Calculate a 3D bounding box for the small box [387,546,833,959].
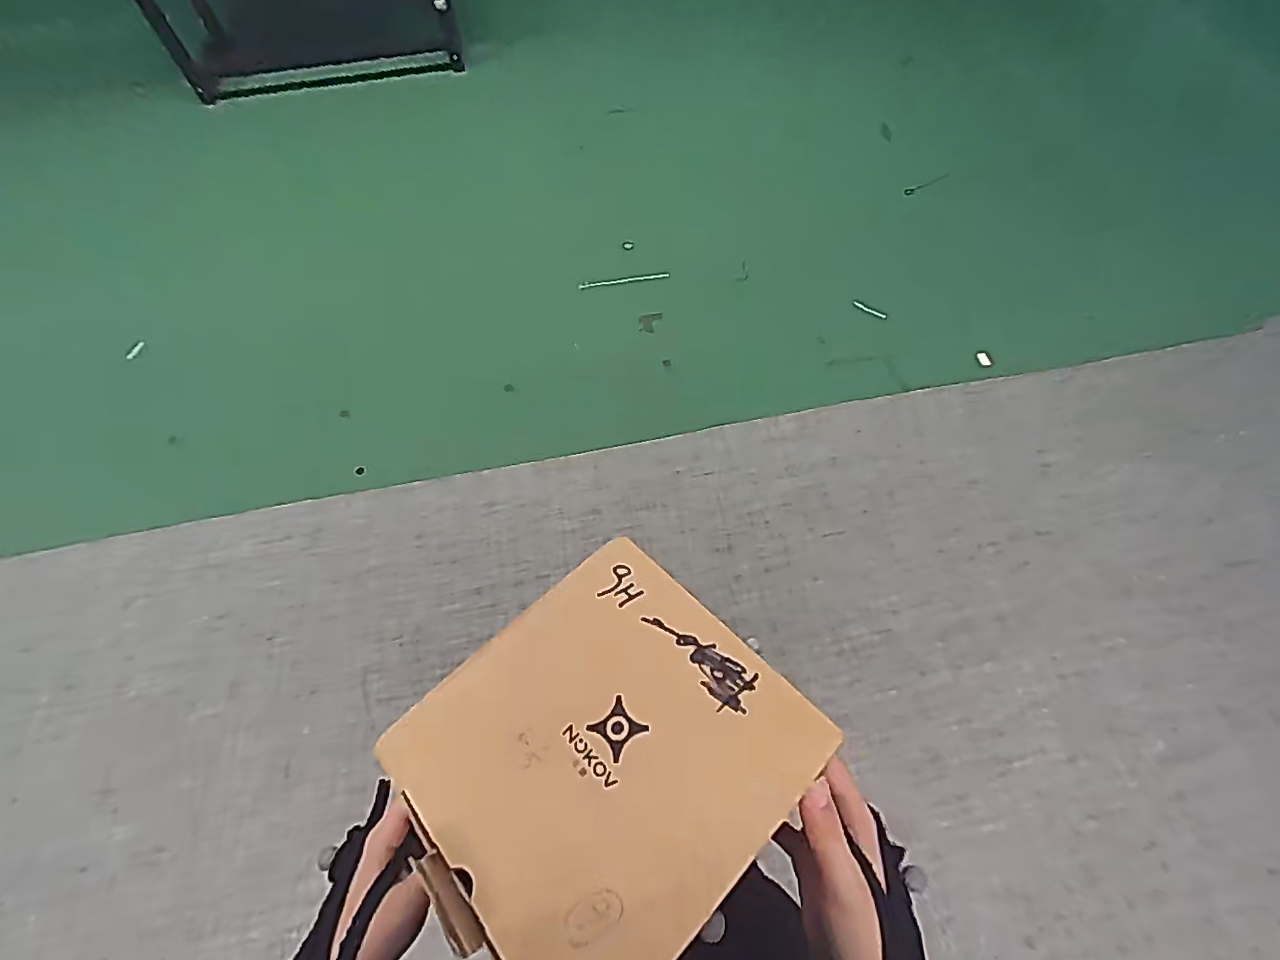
[{"bbox_3d":[-0.011,0.183,0.340,0.179,0.176,0.168,-39,60,-21],"label":"small box"}]
